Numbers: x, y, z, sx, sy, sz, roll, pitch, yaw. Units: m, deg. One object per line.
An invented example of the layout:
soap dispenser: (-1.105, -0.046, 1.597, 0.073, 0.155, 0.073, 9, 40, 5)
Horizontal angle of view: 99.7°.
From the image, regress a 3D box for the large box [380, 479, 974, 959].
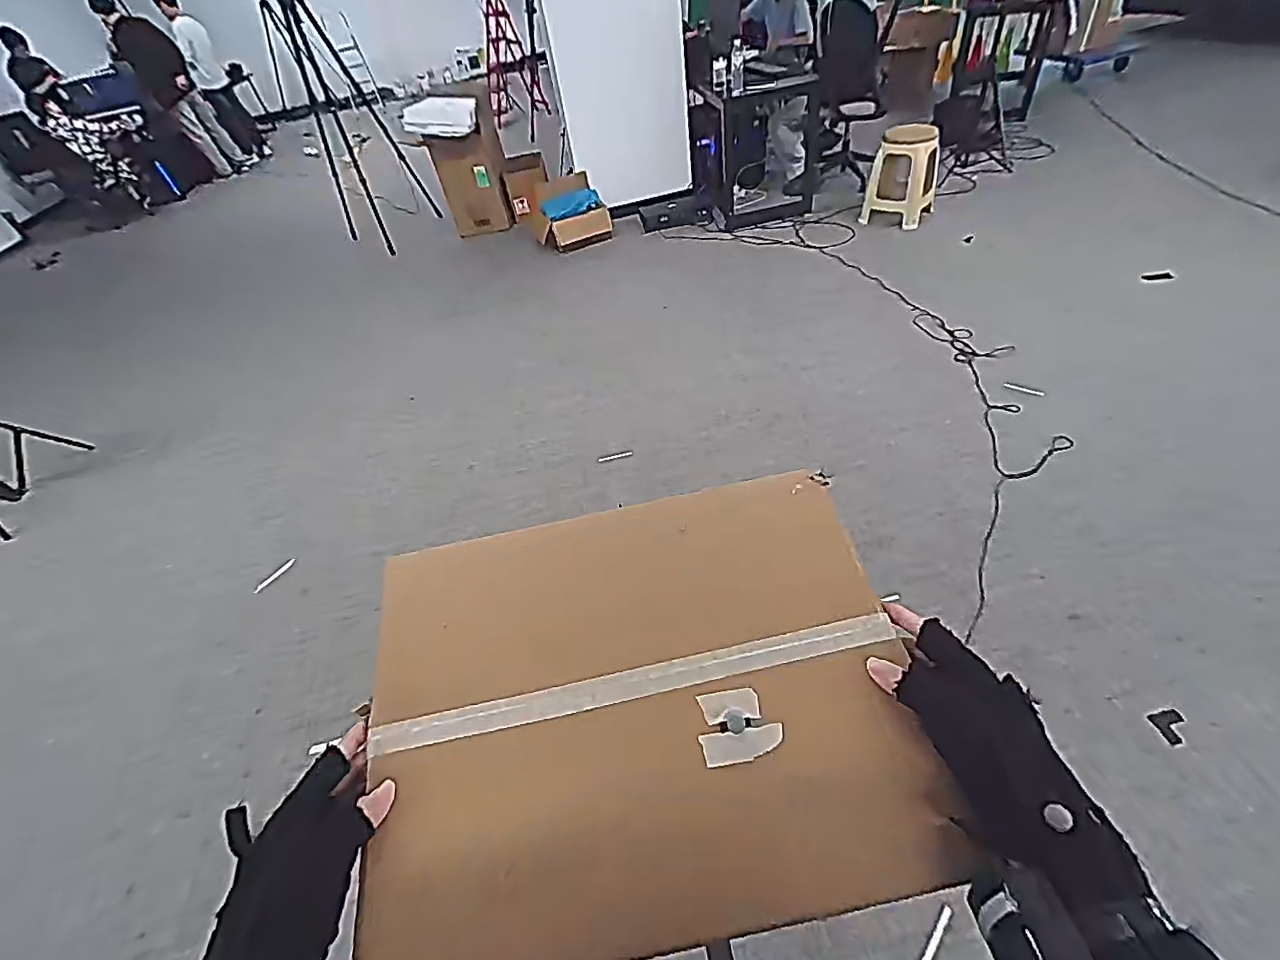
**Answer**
large box: (0.013, 0.246, 0.551, 0.408, 0.320, 0.320, -12, 56, -1)
